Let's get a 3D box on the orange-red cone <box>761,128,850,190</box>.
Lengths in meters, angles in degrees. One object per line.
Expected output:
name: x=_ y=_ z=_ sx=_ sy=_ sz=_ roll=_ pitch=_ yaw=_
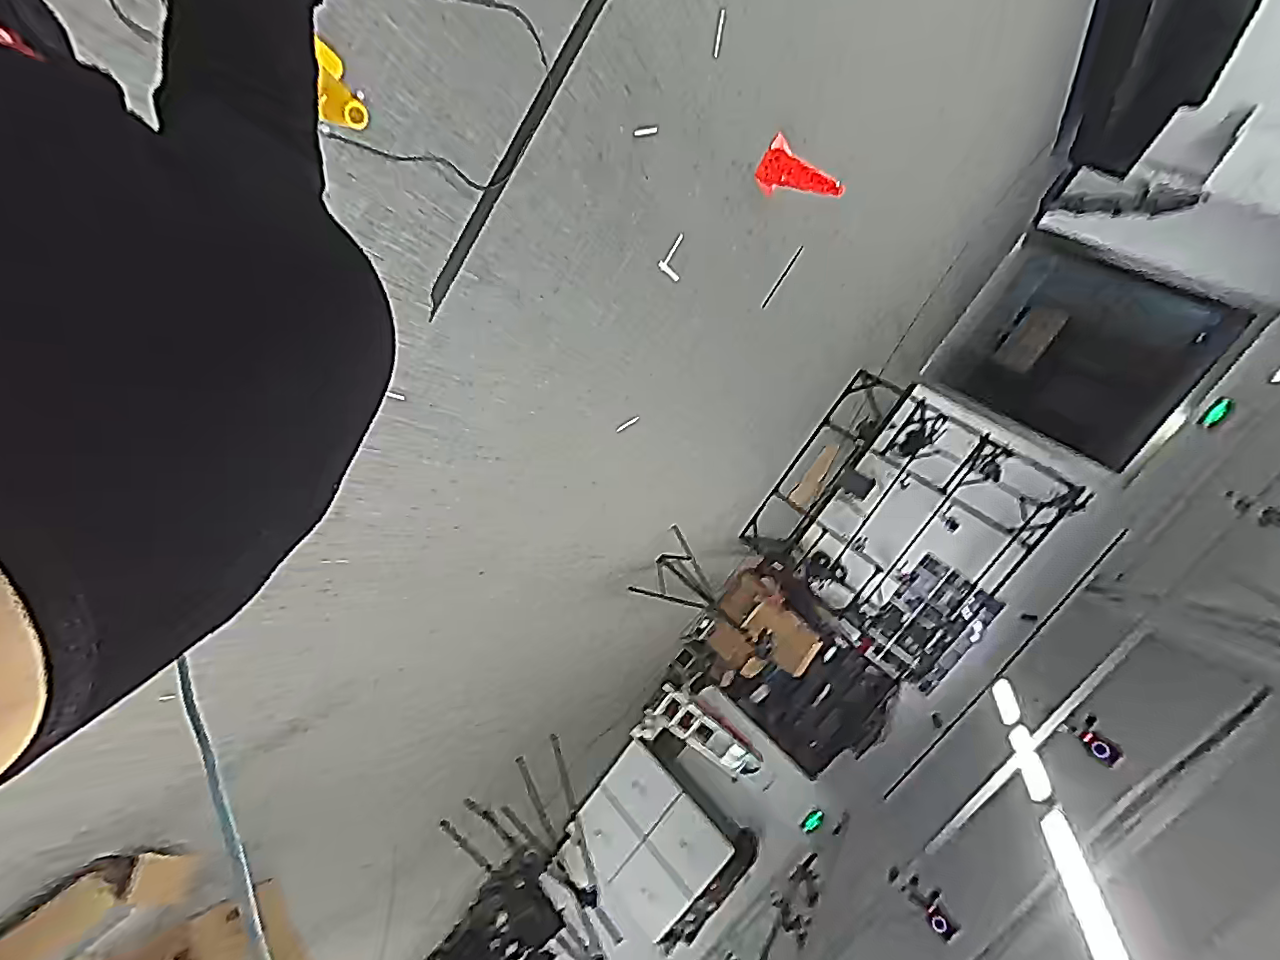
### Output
orange-red cone: x=0.725 y=-1.306 z=2.286 sx=0.198 sy=0.360 sz=0.199 roll=4 pitch=119 yaw=-59
